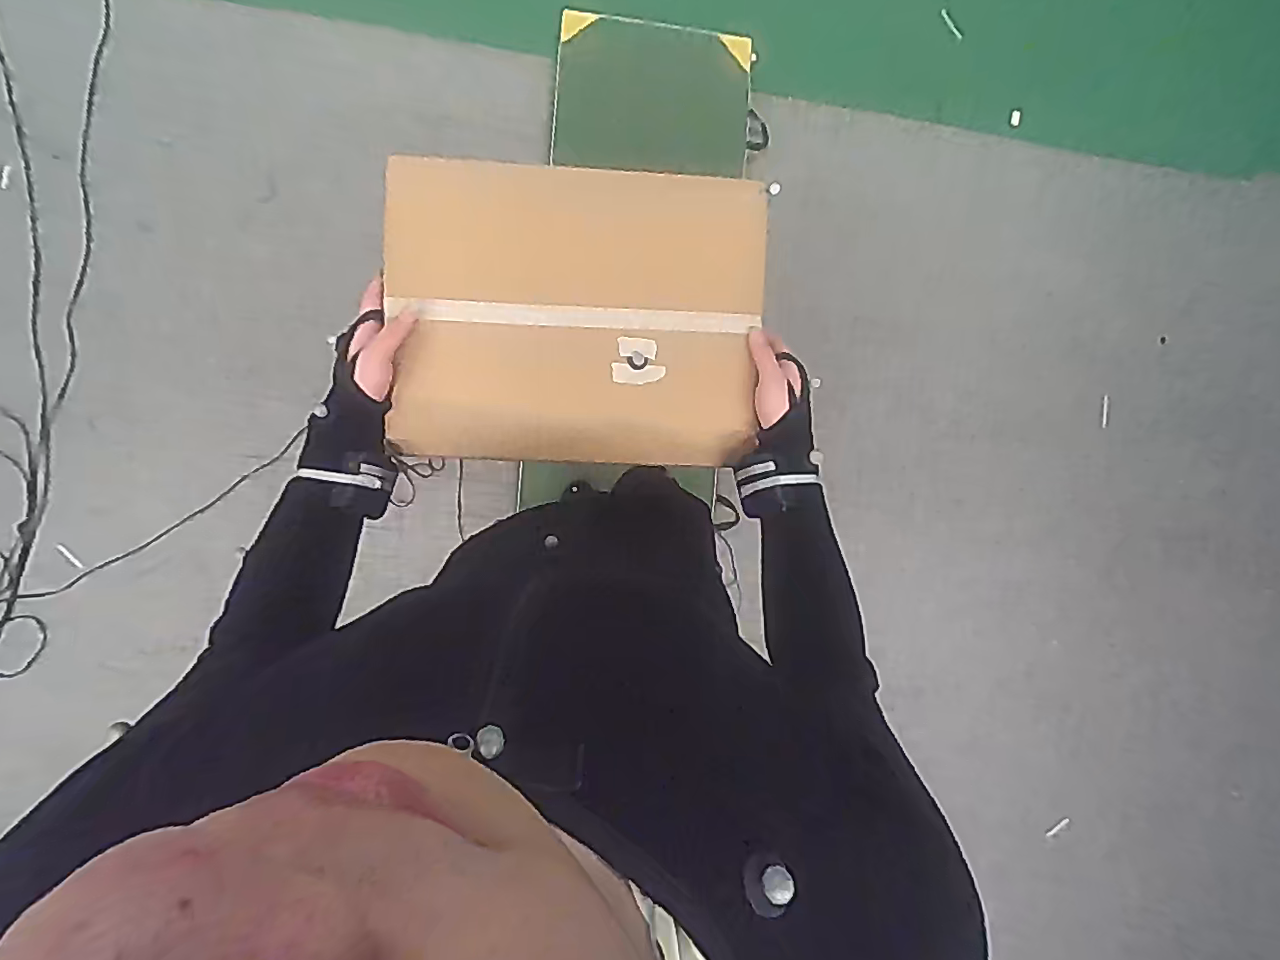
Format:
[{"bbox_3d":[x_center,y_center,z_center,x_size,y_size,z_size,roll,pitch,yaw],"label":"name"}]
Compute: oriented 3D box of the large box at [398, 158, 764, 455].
[{"bbox_3d":[-0.075,-0.193,0.742,0.408,0.320,0.320,2,94,-4],"label":"large box"}]
